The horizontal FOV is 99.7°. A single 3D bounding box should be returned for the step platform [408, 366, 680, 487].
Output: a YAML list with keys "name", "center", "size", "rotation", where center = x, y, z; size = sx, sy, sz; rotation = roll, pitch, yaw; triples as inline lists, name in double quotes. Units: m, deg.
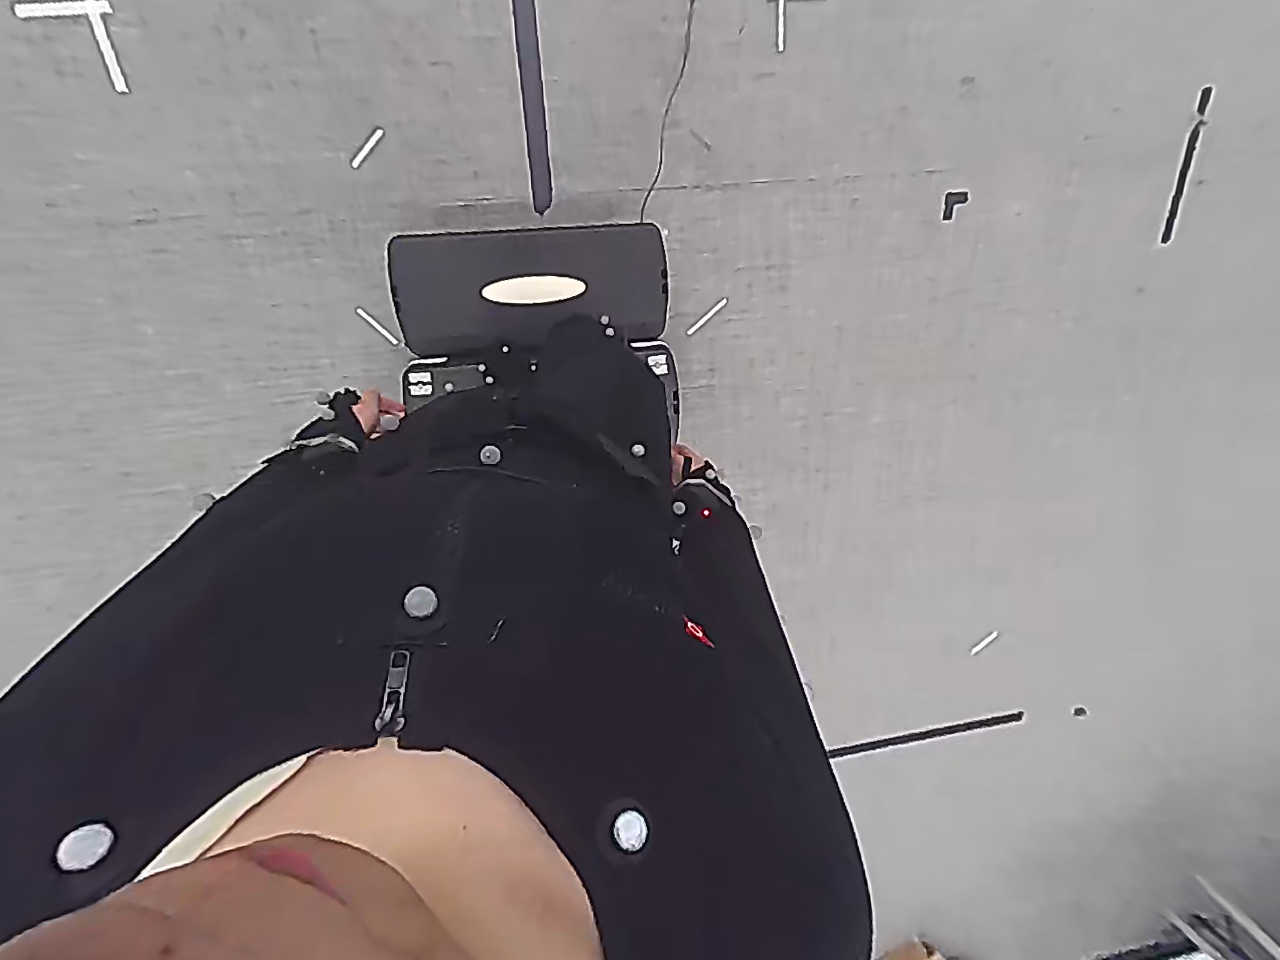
- name: "step platform"
  center: [-0.235, -0.144, 1.416]
  size: [0.684, 0.204, 0.286]
  rotation: [-2, 108, -8]
